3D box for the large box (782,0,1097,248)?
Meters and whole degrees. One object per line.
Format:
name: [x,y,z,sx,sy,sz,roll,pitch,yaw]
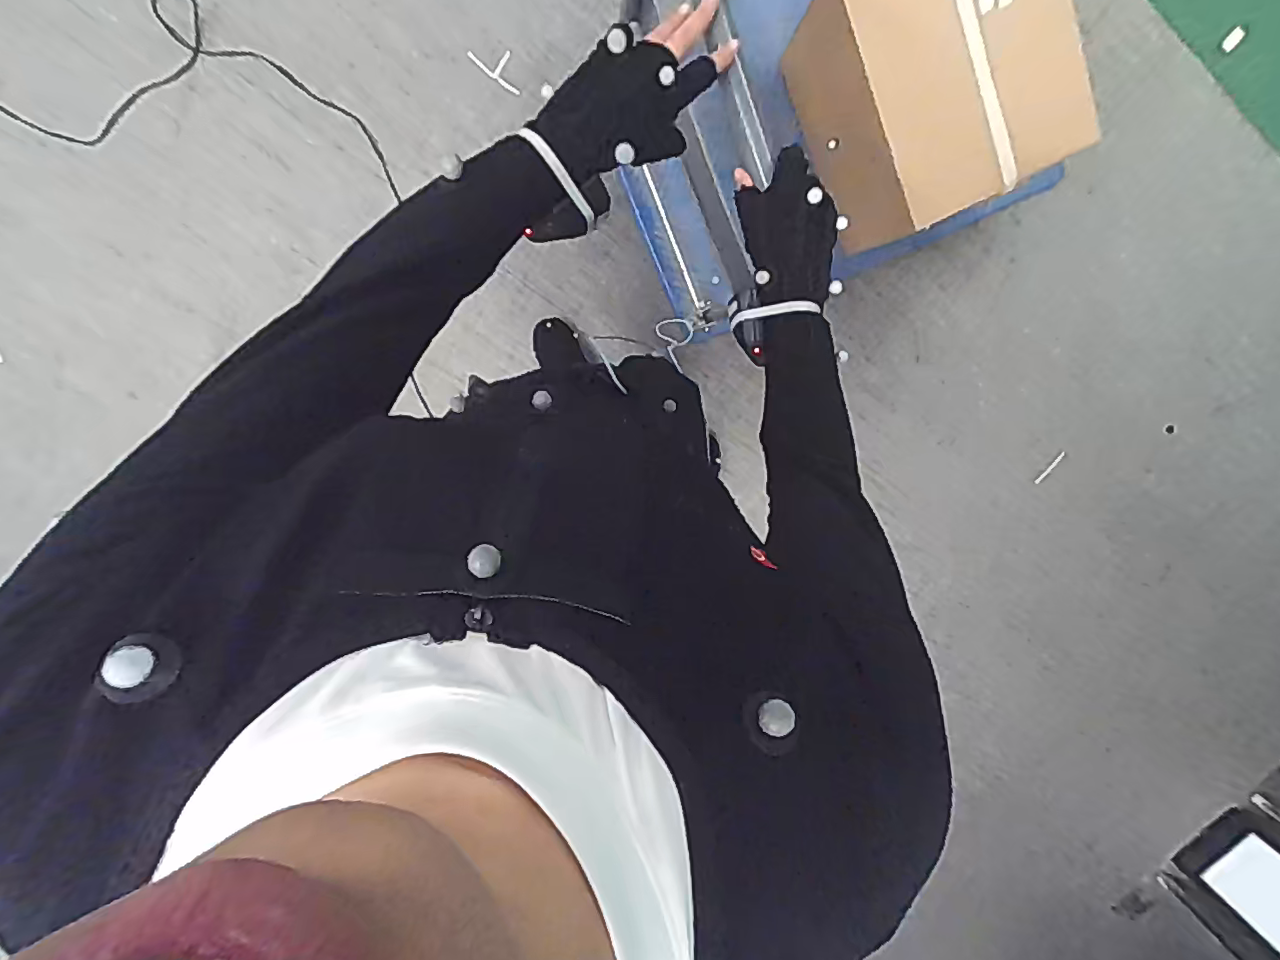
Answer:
large box: [0.502,-0.696,0.970,0.320,0.320,0.408,-25,104,5]
